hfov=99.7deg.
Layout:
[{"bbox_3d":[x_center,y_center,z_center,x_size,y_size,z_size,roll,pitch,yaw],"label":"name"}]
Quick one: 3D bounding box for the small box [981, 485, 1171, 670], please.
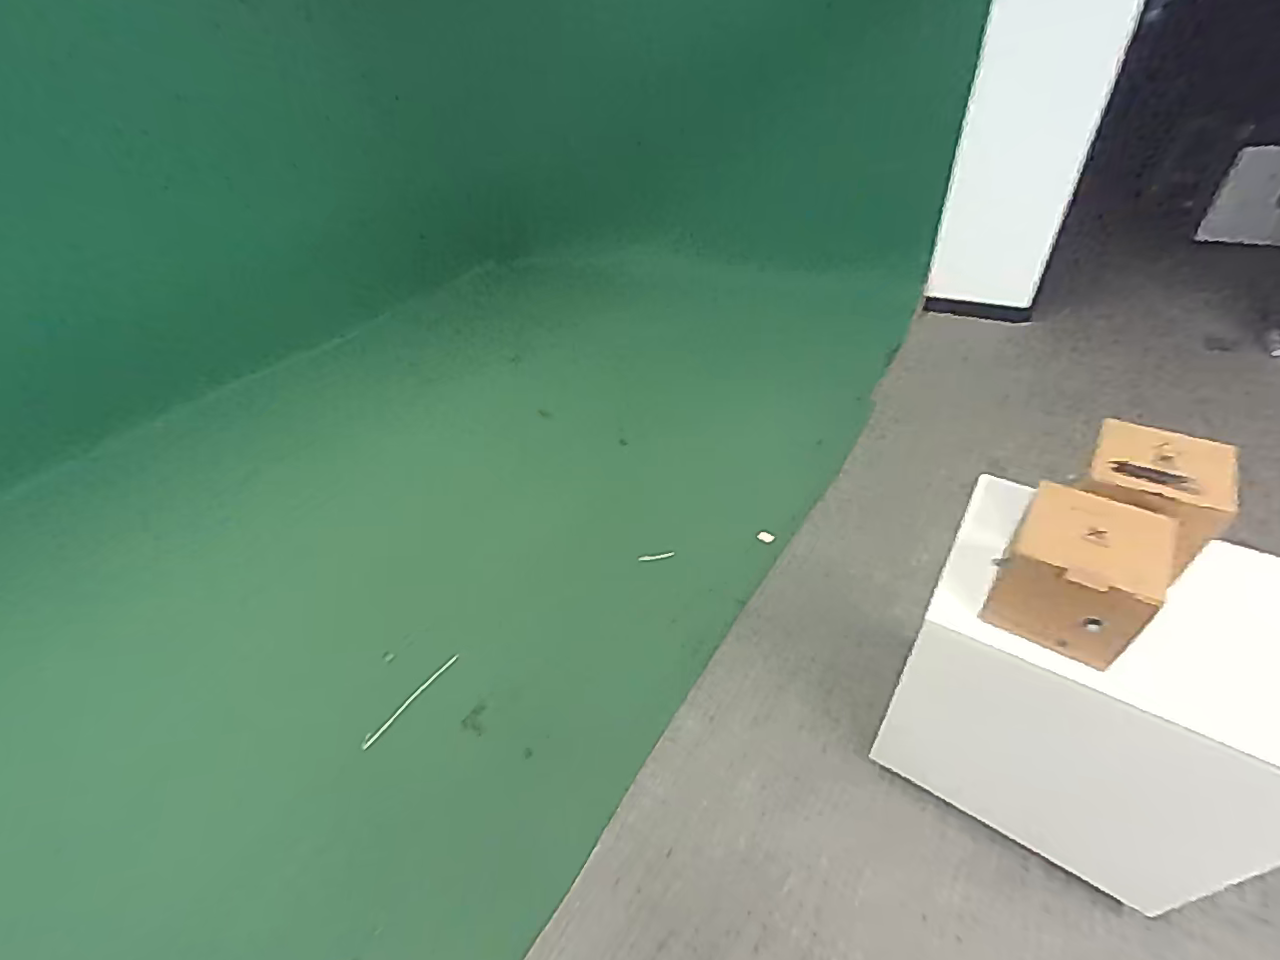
[{"bbox_3d":[0.632,0.143,0.799,0.168,0.176,0.179,24,49,30],"label":"small box"}]
